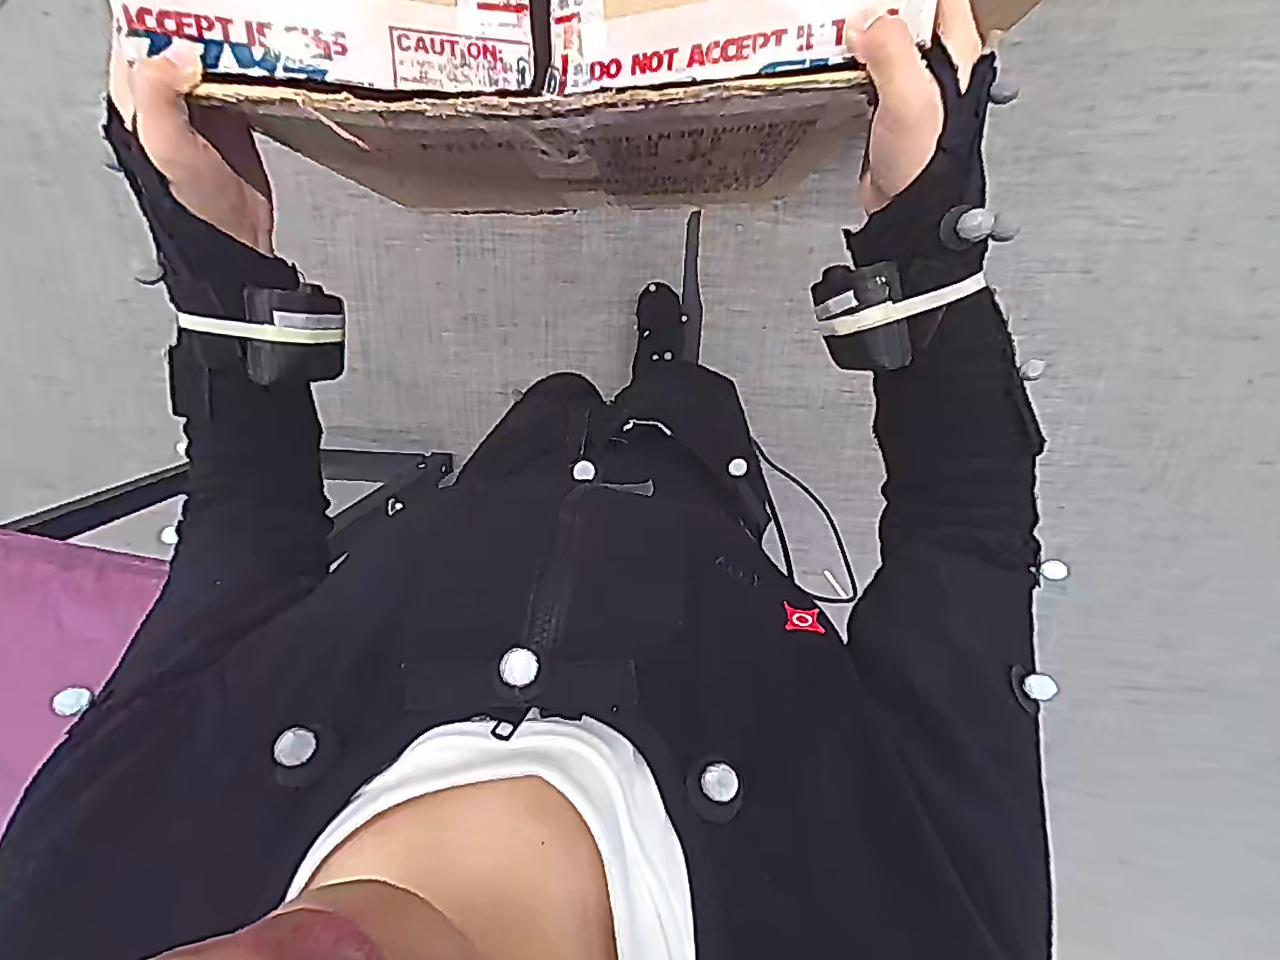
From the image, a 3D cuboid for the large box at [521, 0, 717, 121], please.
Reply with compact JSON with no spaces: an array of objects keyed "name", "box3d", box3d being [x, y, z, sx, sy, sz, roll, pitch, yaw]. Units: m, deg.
[{"name":"large box","box3d":[-0.027,-0.903,0.947,0.320,0.320,0.408,2,109,4]}]
